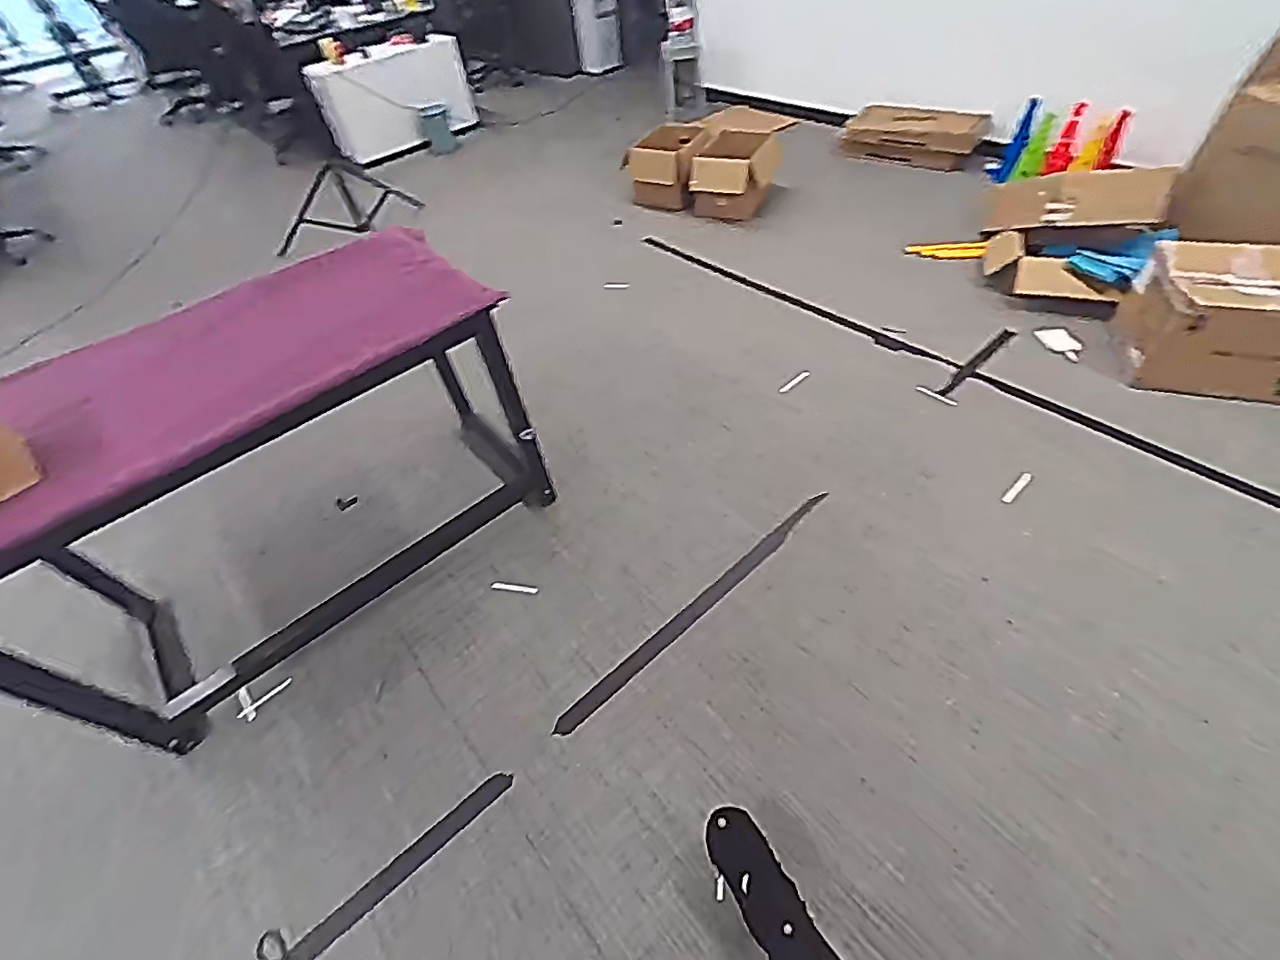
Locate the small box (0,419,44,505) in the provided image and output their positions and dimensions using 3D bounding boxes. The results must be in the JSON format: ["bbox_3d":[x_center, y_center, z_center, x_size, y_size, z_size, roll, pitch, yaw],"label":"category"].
[{"bbox_3d":[-1.209,-0.040,0.940,0.179,0.176,0.168,32,60,30],"label":"small box"}]
